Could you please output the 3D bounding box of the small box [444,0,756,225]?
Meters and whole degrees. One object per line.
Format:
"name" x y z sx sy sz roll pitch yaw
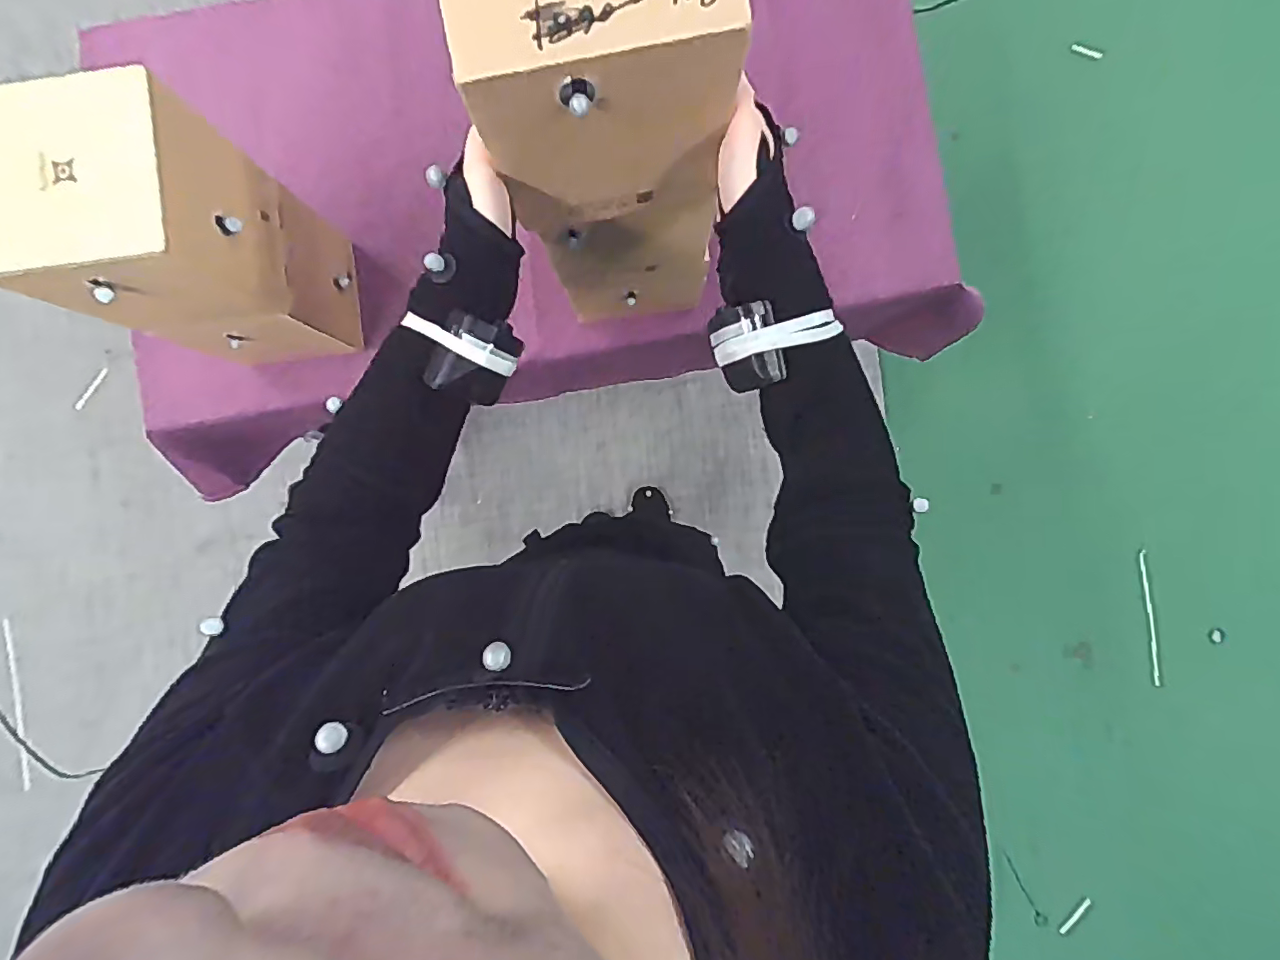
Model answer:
"small box" -0.031 -0.311 0.370 0.168 0.176 0.179 -11 88 2

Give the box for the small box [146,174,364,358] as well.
"small box" -0.494 -0.264 0.706 0.179 0.176 0.168 -7 90 1

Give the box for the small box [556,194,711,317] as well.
"small box" -0.012 -0.323 0.700 0.179 0.176 0.168 -7 90 2

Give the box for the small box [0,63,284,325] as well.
"small box" -0.492 -0.266 0.543 0.179 0.176 0.168 -7 90 2
